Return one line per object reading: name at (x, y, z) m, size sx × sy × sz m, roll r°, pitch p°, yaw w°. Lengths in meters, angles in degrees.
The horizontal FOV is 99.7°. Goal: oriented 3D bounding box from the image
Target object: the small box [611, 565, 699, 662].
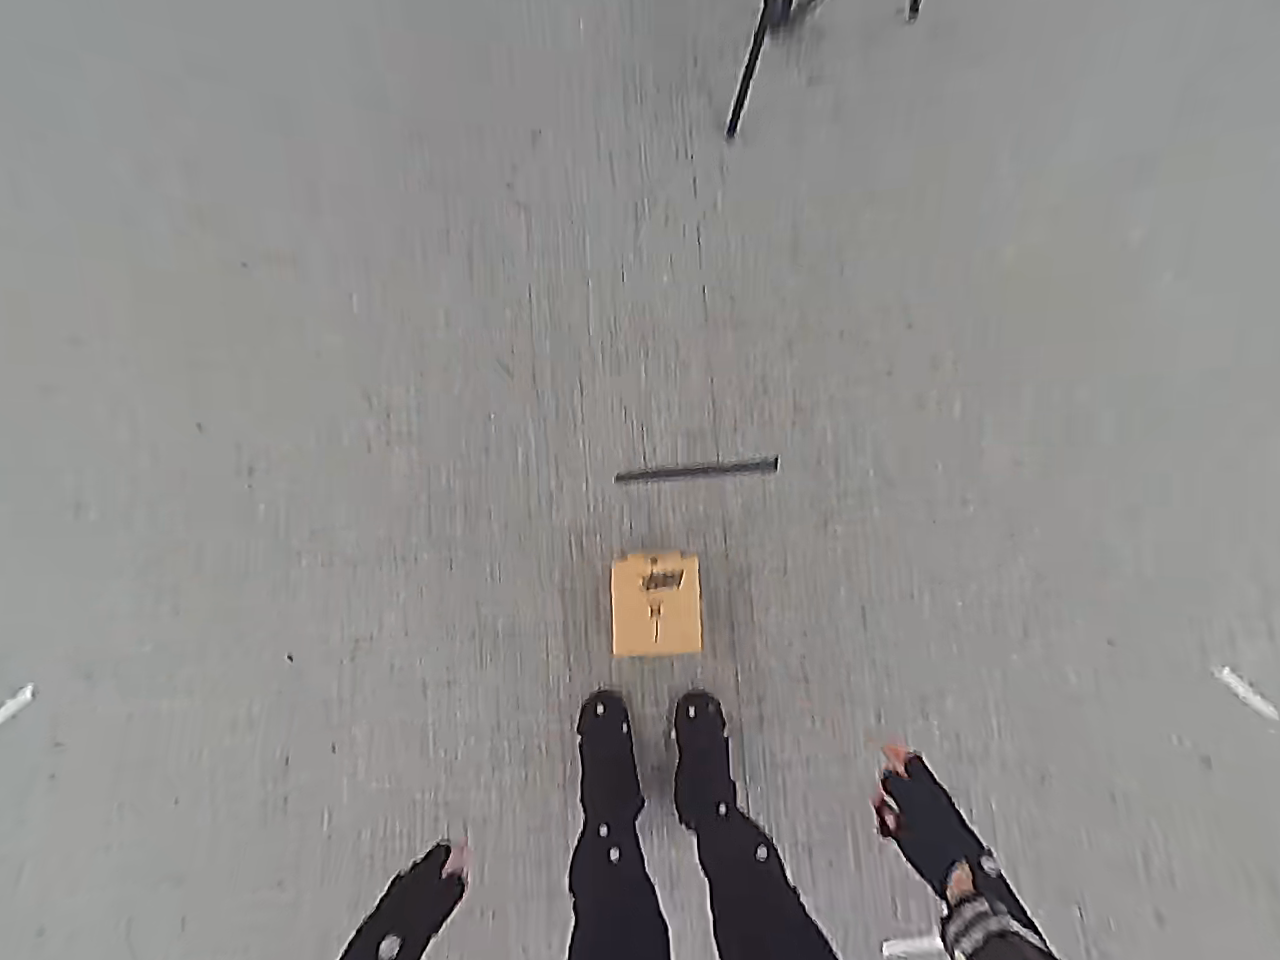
small box at (0.026, 0.261, 1.090) m, size 0.168 × 0.176 × 0.179 m, roll -2°, pitch 83°, yaw 0°
